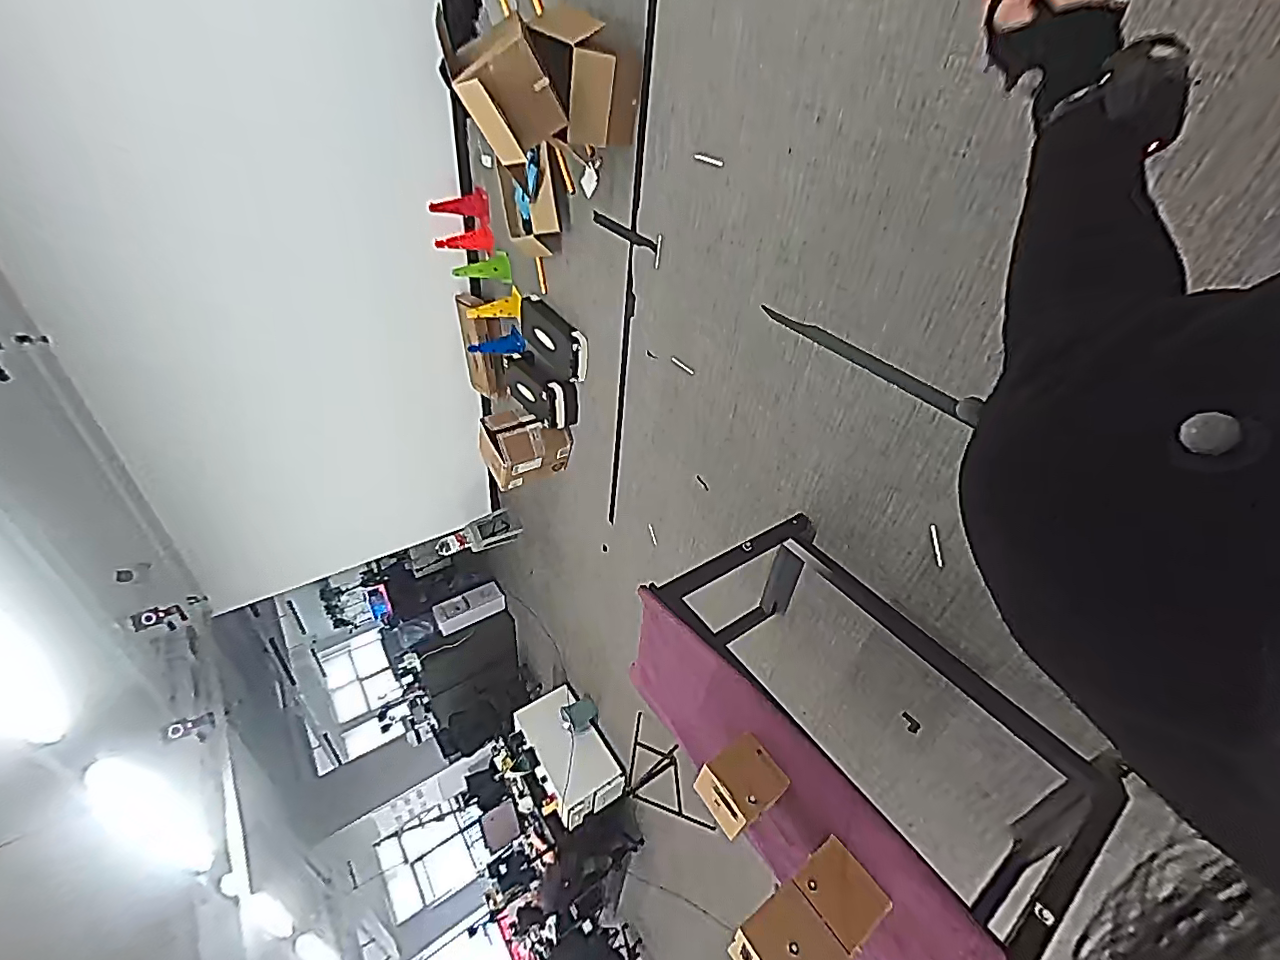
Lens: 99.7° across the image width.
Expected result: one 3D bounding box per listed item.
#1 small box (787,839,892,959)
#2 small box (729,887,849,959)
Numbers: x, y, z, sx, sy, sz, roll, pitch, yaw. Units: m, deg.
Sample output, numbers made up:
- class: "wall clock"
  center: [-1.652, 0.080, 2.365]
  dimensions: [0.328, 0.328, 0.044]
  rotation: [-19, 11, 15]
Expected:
- class: "small box"
  center: [0.463, 1.014, 1.289]
  dimensions: [0.179, 0.176, 0.168]
  rotation: [42, 140, 40]
- class: "small box"
  center: [0.328, 1.058, 1.206]
  dimensions: [0.179, 0.176, 0.168]
  rotation: [41, 140, 40]
